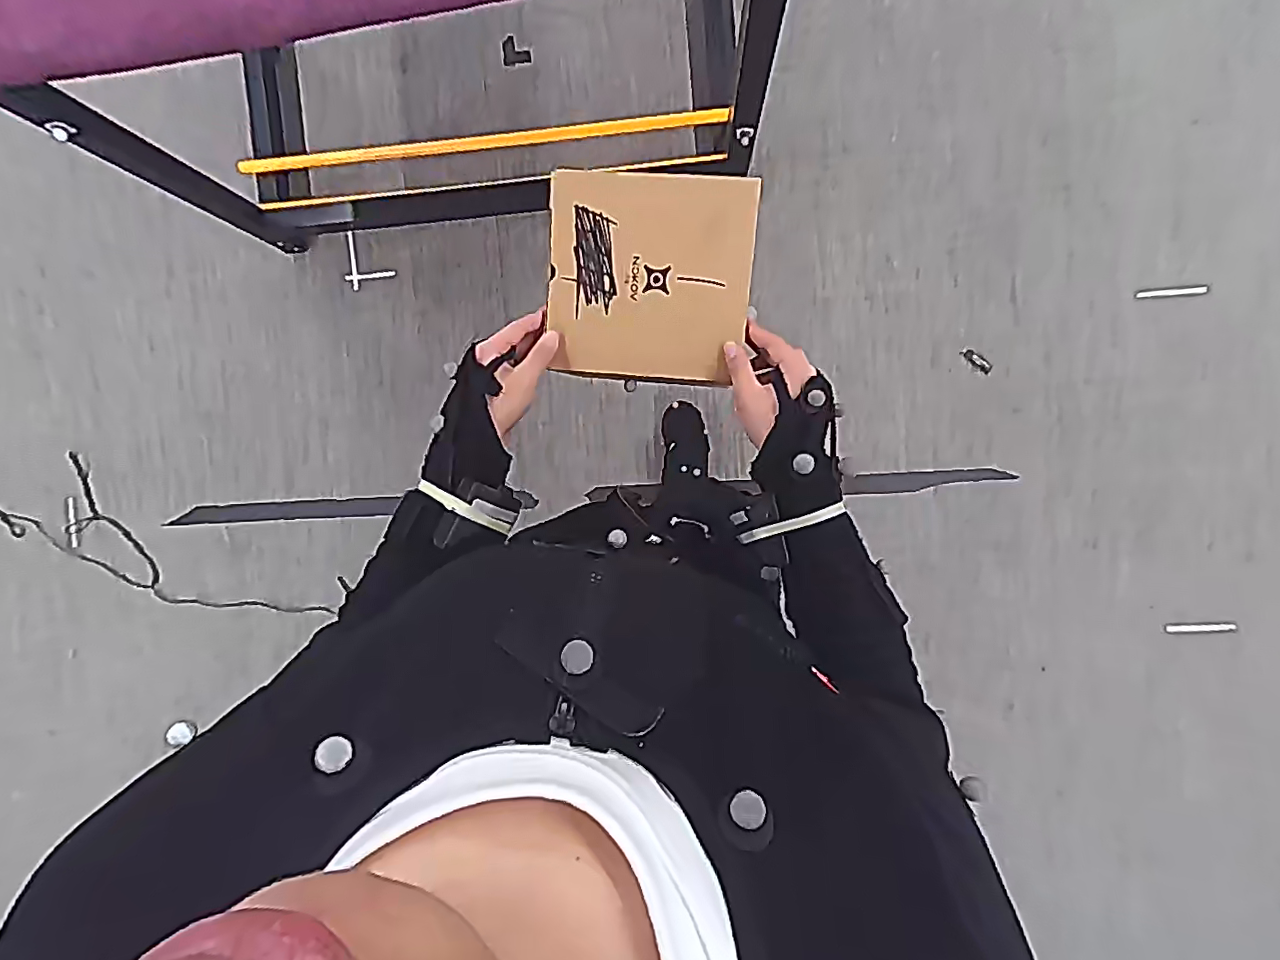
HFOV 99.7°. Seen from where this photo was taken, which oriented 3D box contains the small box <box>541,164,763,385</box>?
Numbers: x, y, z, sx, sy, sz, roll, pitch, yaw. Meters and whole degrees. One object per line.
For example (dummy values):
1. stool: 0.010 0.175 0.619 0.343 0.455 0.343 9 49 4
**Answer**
1. small box: 0.014 -0.184 0.530 0.179 0.176 0.168 5 99 5
